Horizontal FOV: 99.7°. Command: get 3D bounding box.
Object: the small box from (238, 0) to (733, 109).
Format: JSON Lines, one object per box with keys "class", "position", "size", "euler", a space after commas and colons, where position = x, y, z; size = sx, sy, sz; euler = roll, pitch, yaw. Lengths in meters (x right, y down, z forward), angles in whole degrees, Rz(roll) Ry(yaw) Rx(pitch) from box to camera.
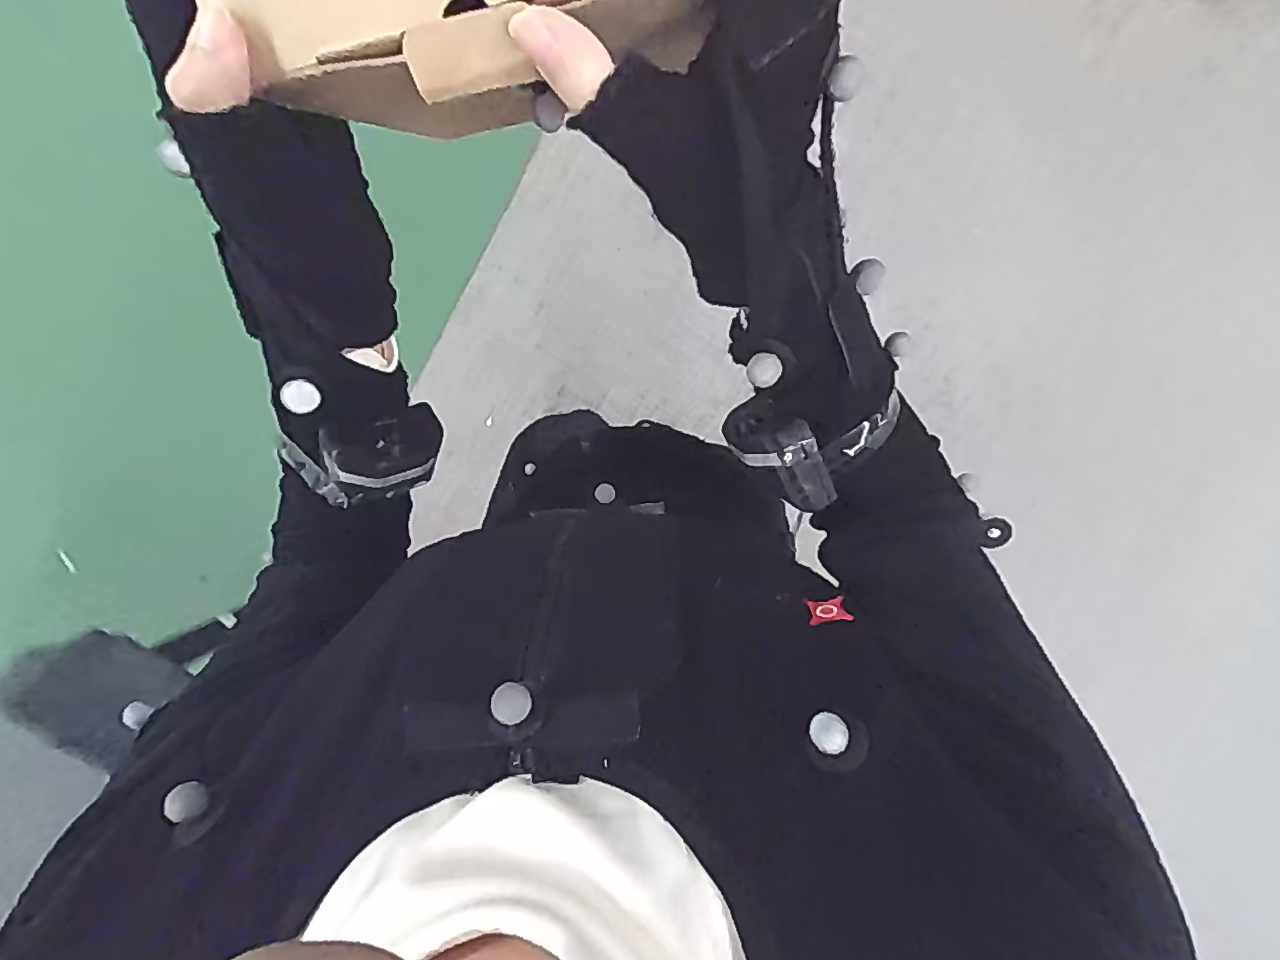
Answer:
{"class": "small box", "position": [-0.053, -0.258, 0.201], "size": [0.168, 0.176, 0.179], "euler": [-6, 118, 10]}
